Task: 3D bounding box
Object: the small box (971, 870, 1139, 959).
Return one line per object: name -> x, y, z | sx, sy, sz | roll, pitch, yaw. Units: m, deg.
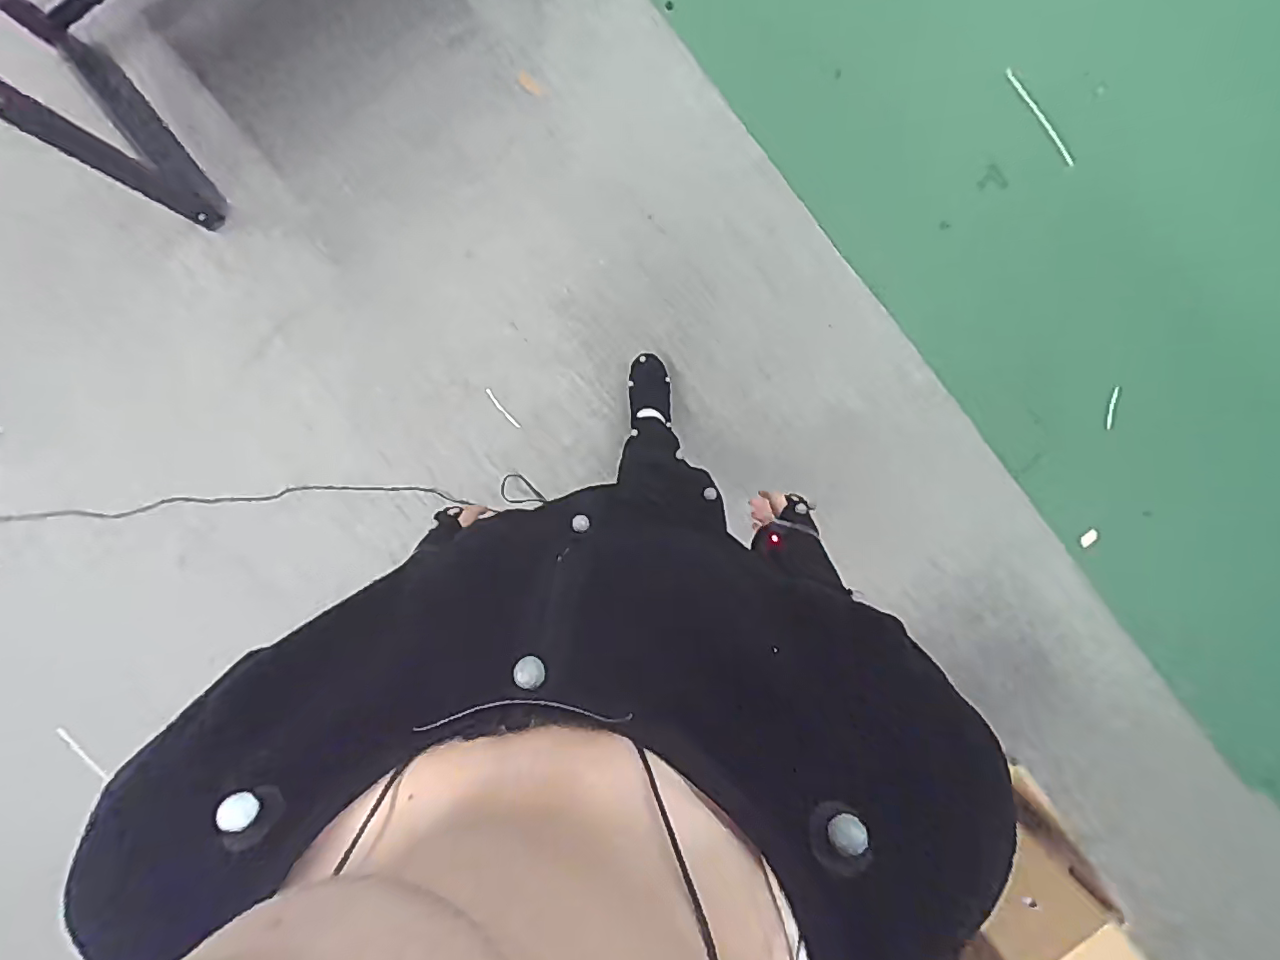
small box -> 0.682, 0.775, 0.864 | 0.168, 0.176, 0.179 | -37, 92, 1
